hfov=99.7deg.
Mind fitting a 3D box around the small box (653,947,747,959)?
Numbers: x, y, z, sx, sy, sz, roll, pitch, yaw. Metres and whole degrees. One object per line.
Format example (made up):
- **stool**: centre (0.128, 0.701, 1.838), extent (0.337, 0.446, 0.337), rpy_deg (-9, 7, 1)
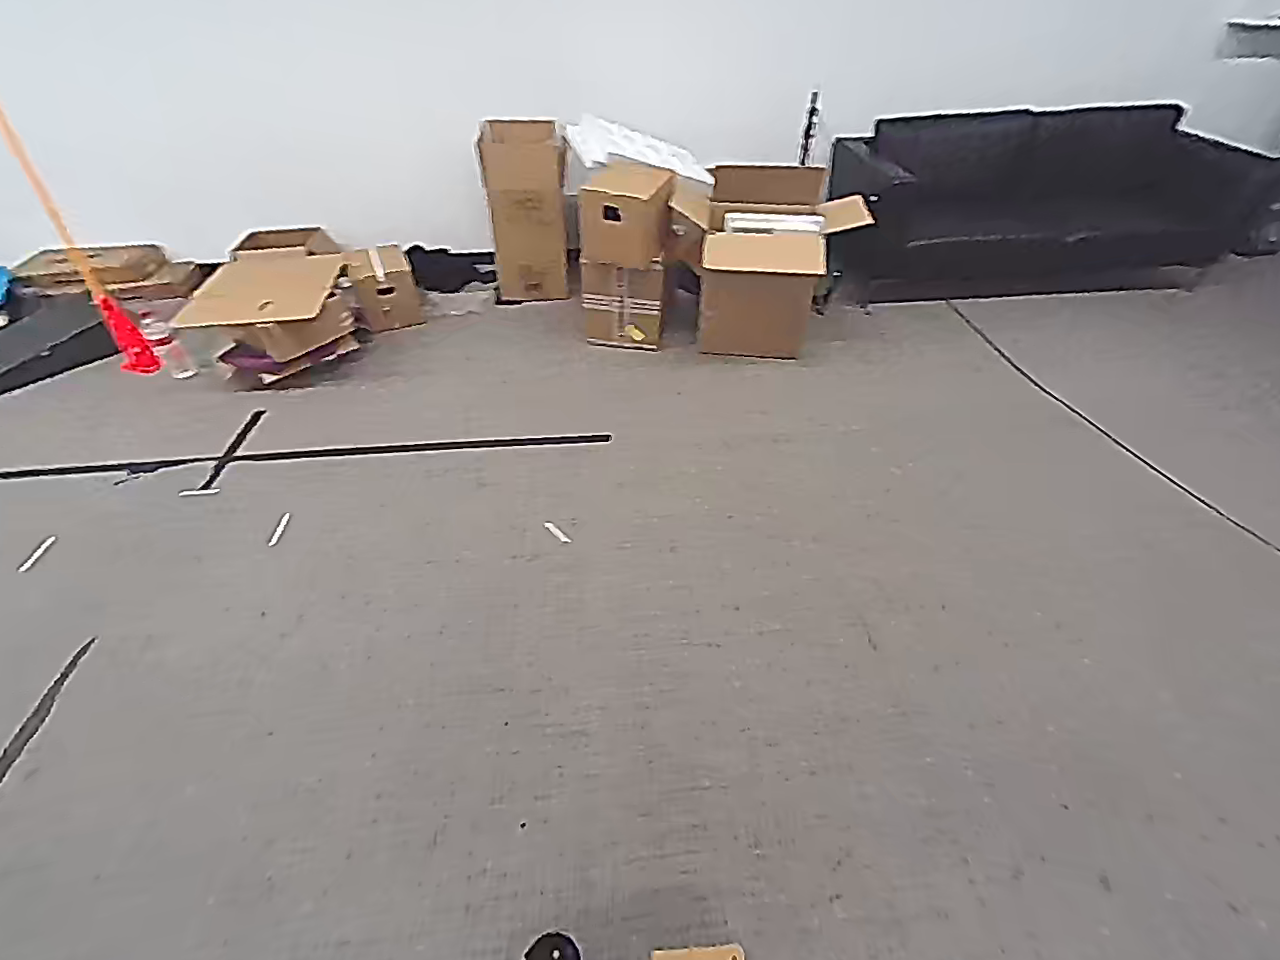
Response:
- **small box**: centre (0.116, 0.997, 1.012), extent (0.179, 0.176, 0.168), rpy_deg (-3, 44, -1)
